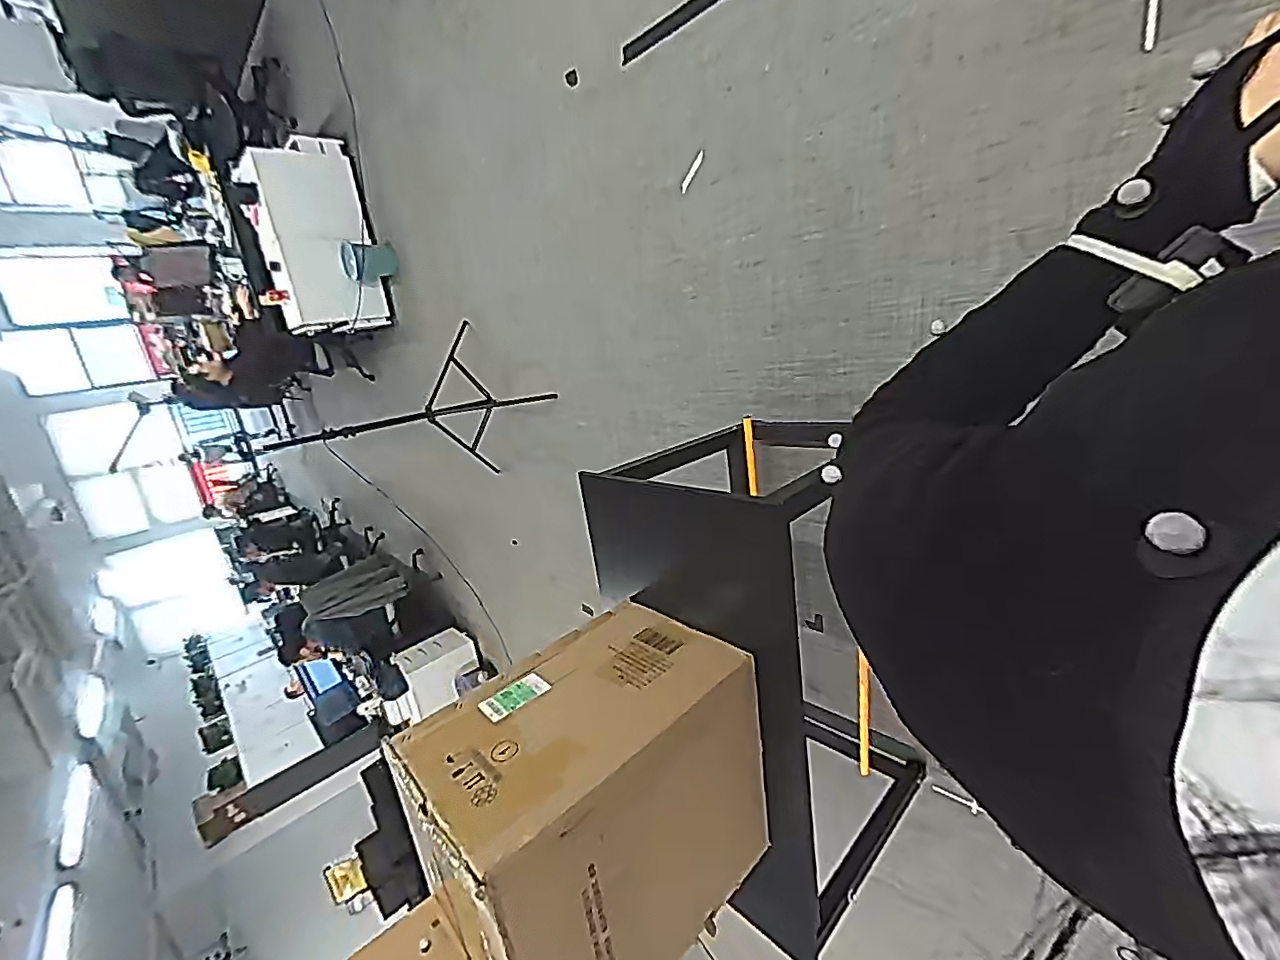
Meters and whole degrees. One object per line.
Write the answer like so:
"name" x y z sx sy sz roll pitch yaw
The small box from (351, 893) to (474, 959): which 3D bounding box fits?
"small box" -0.396 0.923 0.983 0.168 0.176 0.179 11 113 48
